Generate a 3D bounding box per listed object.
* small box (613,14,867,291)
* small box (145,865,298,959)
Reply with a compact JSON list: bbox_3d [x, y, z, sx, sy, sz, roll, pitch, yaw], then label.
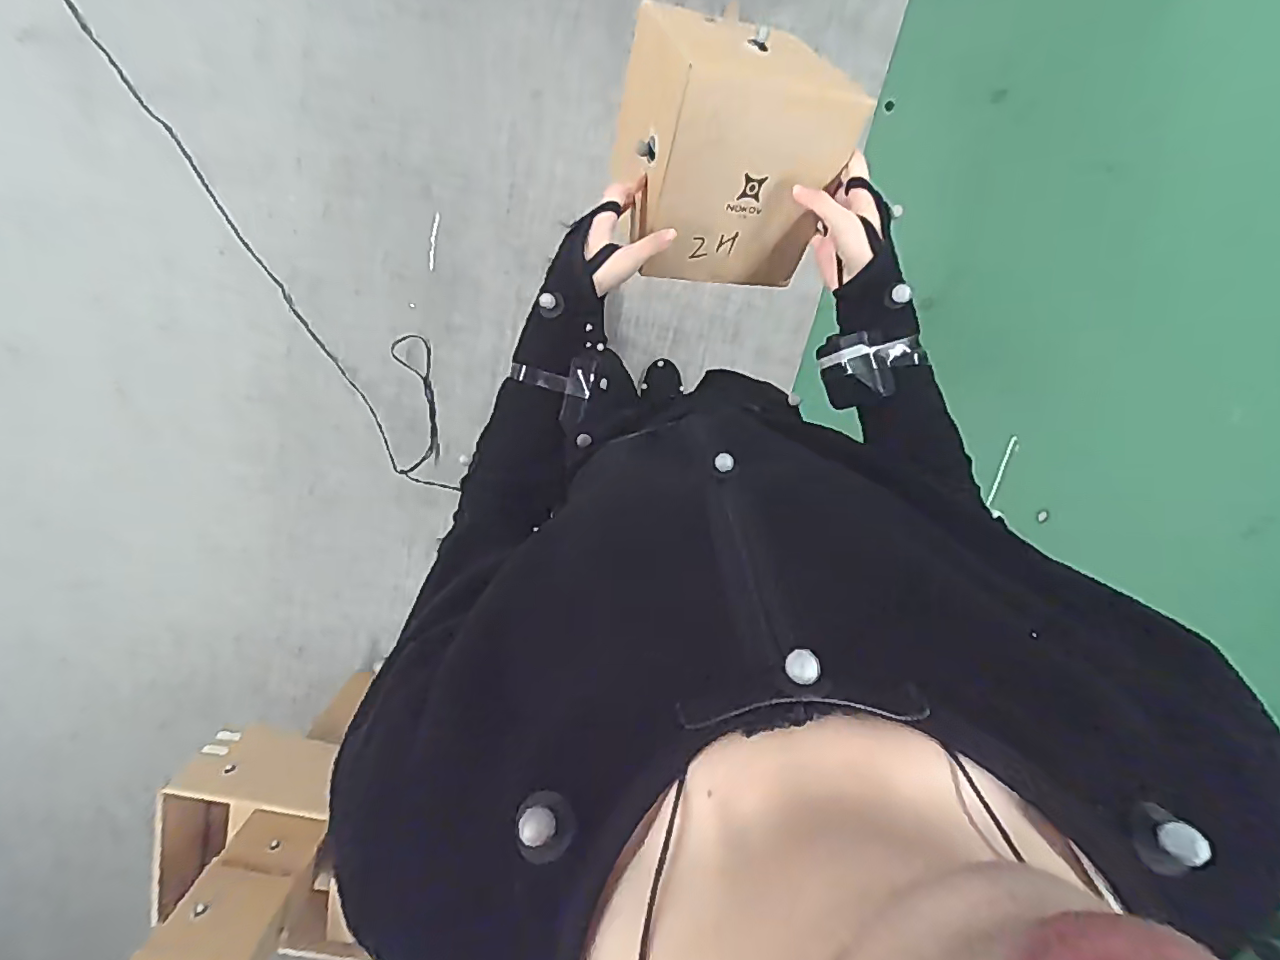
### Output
[{"bbox_3d":[0.075,-0.313,0.527,0.168,0.176,0.179,-1,143,-17],"label":"small box"},{"bbox_3d":[-0.809,0.893,1.047,0.179,0.176,0.168,17,104,-7],"label":"small box"}]
